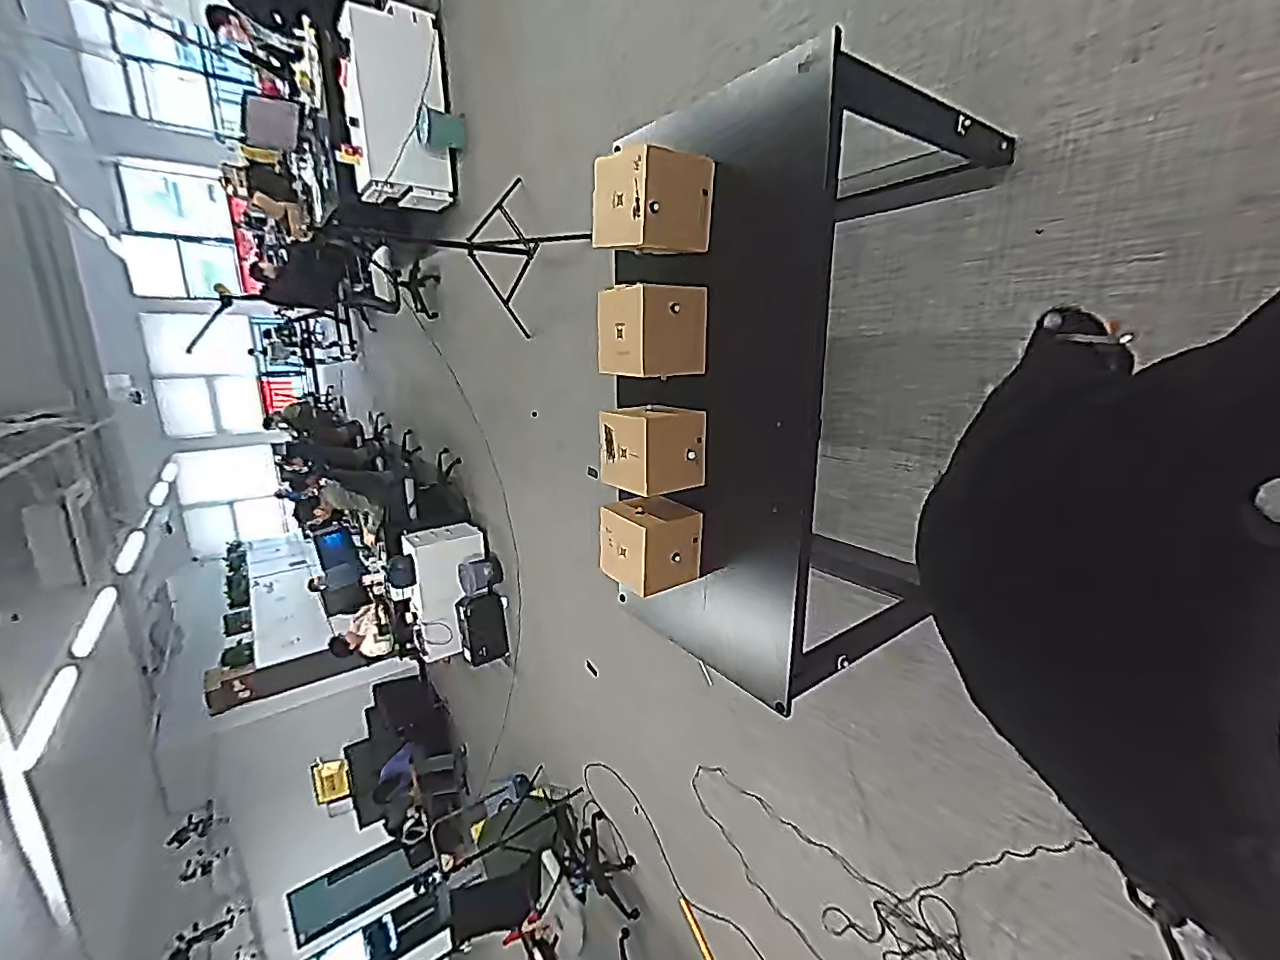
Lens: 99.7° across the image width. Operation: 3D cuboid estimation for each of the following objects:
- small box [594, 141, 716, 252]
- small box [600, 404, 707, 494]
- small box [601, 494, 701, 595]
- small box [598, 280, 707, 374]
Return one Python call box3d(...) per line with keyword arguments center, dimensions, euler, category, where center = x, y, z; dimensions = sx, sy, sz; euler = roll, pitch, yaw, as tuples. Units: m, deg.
box3d(center=(0.026, -0.551, 1.075), dimensions=(0.179, 0.176, 0.168), euler=(27, 120, 50), category="small box")
box3d(center=(0.026, -0.077, 1.199), dimensions=(0.179, 0.176, 0.168), euler=(17, 113, 51), category="small box")
box3d(center=(0.024, 0.139, 1.258), dimensions=(0.179, 0.176, 0.168), euler=(23, 116, 50), category="small box")
box3d(center=(0.027, -0.318, 1.138), dimensions=(0.168, 0.176, 0.179), euler=(19, 115, 53), category="small box")
